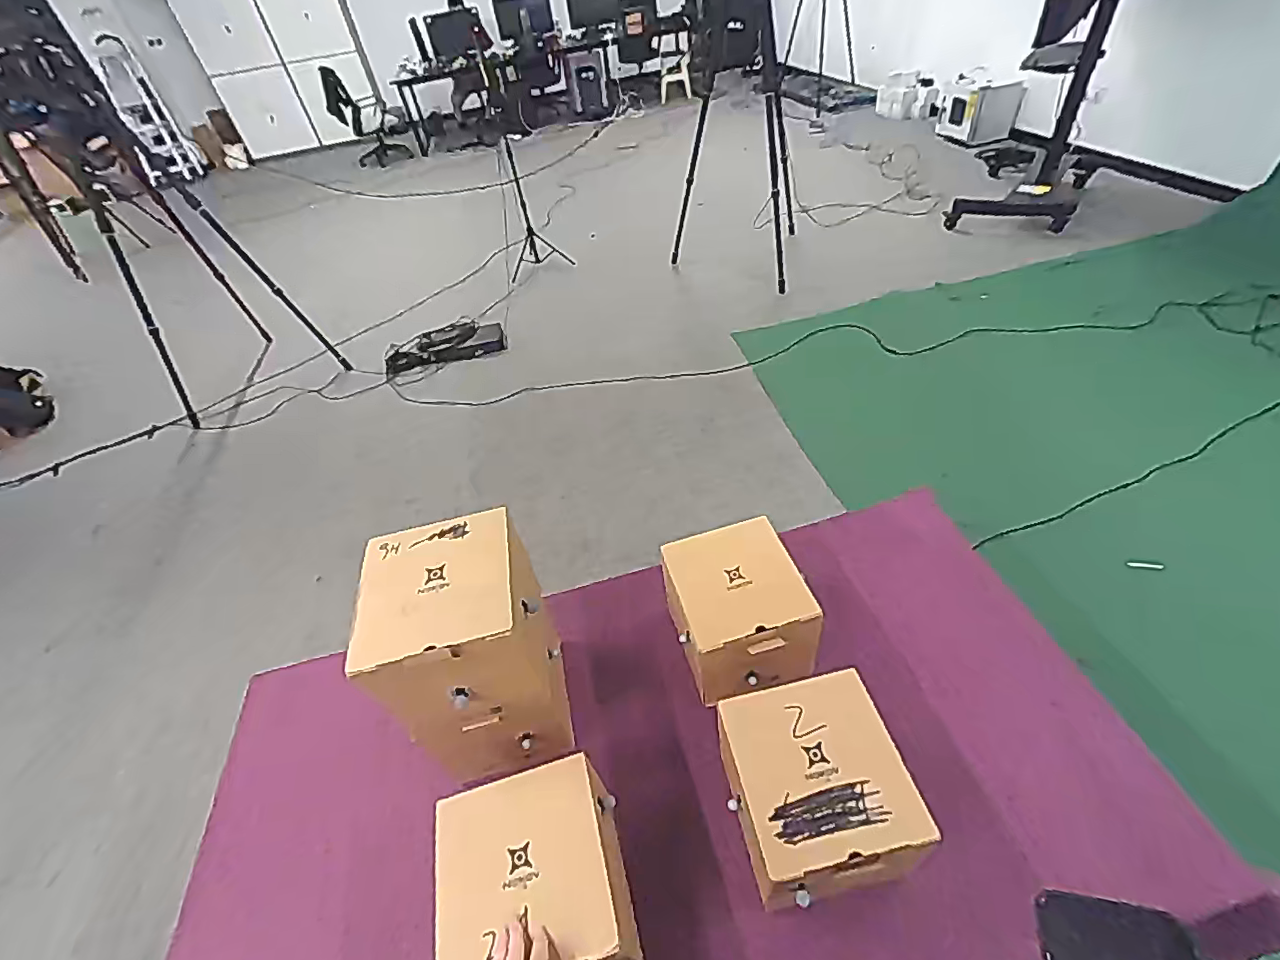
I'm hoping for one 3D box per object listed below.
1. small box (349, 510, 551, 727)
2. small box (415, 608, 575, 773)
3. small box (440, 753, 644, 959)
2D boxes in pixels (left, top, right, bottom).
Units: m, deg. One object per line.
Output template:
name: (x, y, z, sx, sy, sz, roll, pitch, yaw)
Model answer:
small box: (-0.208, 0.168, 0.635, 0.168, 0.176, 0.179, -14, 45, -5)
small box: (-0.193, 0.284, 0.751, 0.168, 0.176, 0.179, -14, 45, -5)
small box: (-0.102, 0.434, 0.582, 0.168, 0.176, 0.179, -17, 44, -5)
